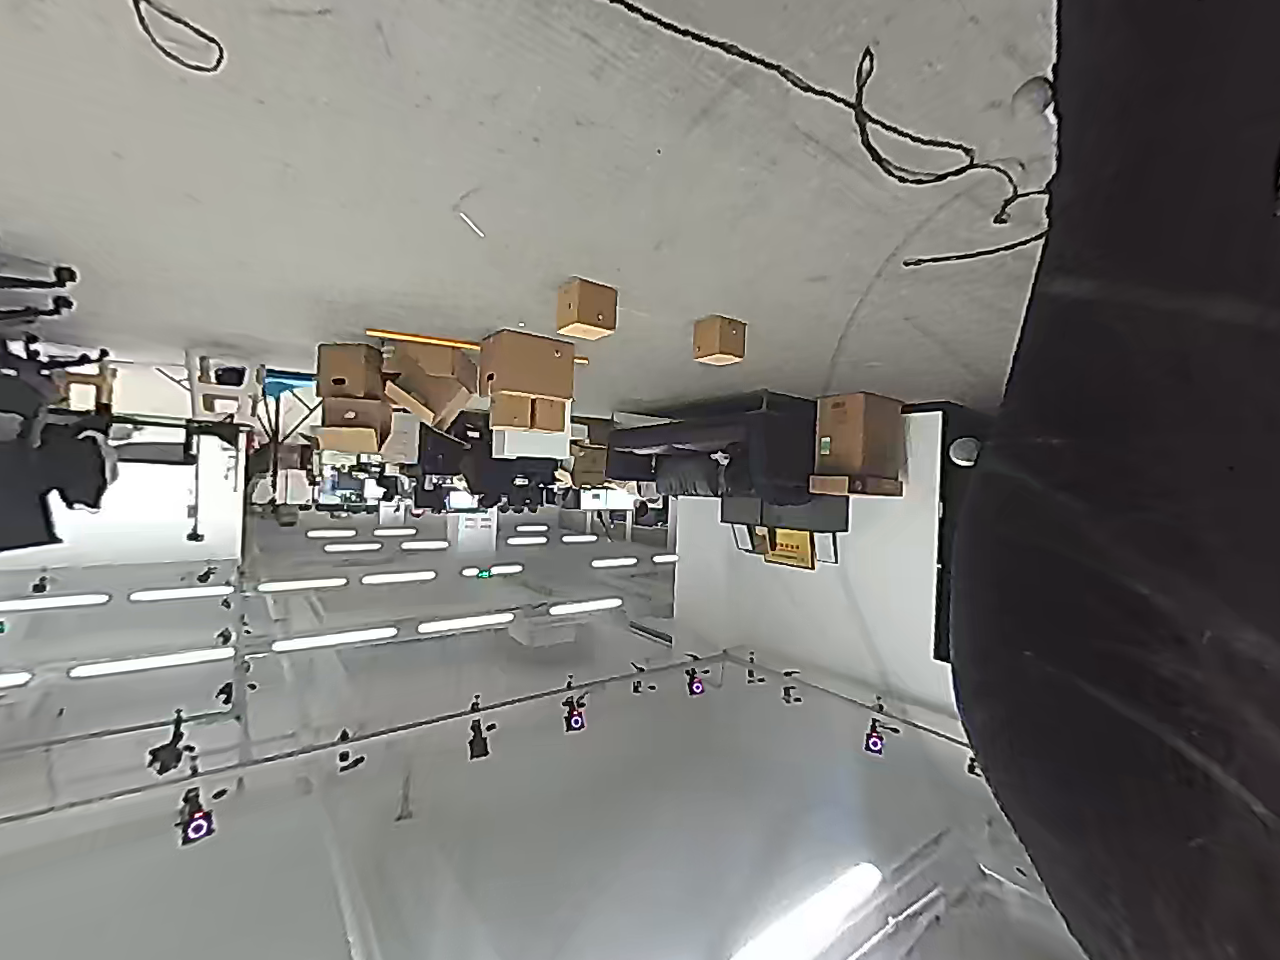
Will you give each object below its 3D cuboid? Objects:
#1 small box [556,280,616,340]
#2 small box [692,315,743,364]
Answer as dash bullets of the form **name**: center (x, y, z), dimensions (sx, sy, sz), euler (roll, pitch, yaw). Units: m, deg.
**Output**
- **small box**: center (-0.206, -0.649, 2.061), dimensions (0.179, 0.176, 0.168), euler (1, 180, -36)
- **small box**: center (0.356, -0.635, 2.452), dimensions (0.168, 0.176, 0.179), euler (1, 180, -36)
